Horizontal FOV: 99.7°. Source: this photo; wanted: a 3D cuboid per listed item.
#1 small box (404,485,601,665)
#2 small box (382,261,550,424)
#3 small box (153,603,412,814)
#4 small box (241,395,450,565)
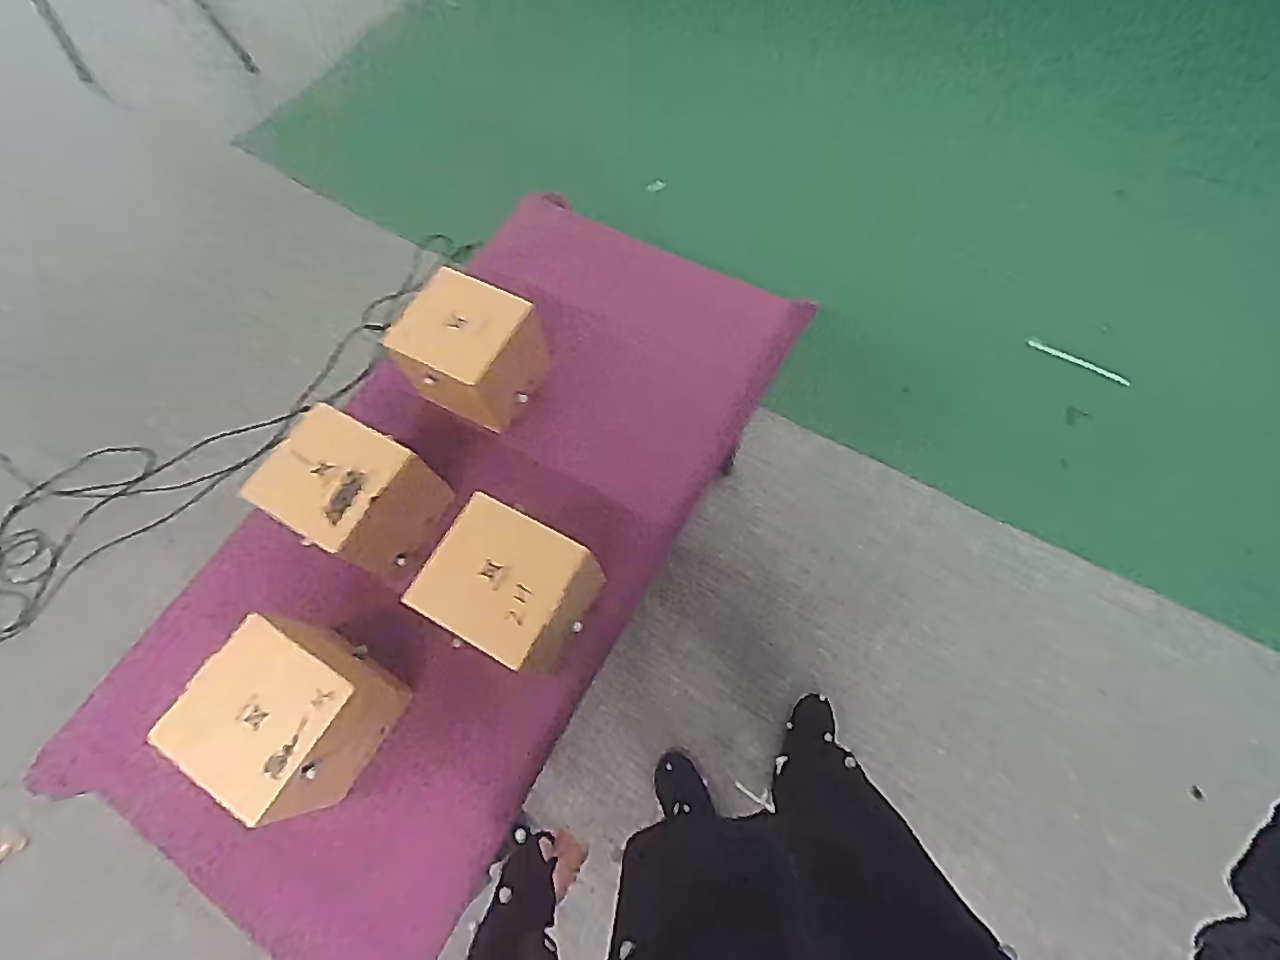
[{"bbox_3d":[-0.172,0.139,0.740,0.179,0.176,0.168,27,72,14],"label":"small box"},{"bbox_3d":[-0.273,-0.218,0.892,0.179,0.176,0.168,27,72,12],"label":"small box"},{"bbox_3d":[-0.438,0.284,0.692,0.179,0.176,0.168,29,73,14],"label":"small box"},{"bbox_3d":[-0.419,0.011,0.804,0.179,0.176,0.168,27,71,13],"label":"small box"}]
